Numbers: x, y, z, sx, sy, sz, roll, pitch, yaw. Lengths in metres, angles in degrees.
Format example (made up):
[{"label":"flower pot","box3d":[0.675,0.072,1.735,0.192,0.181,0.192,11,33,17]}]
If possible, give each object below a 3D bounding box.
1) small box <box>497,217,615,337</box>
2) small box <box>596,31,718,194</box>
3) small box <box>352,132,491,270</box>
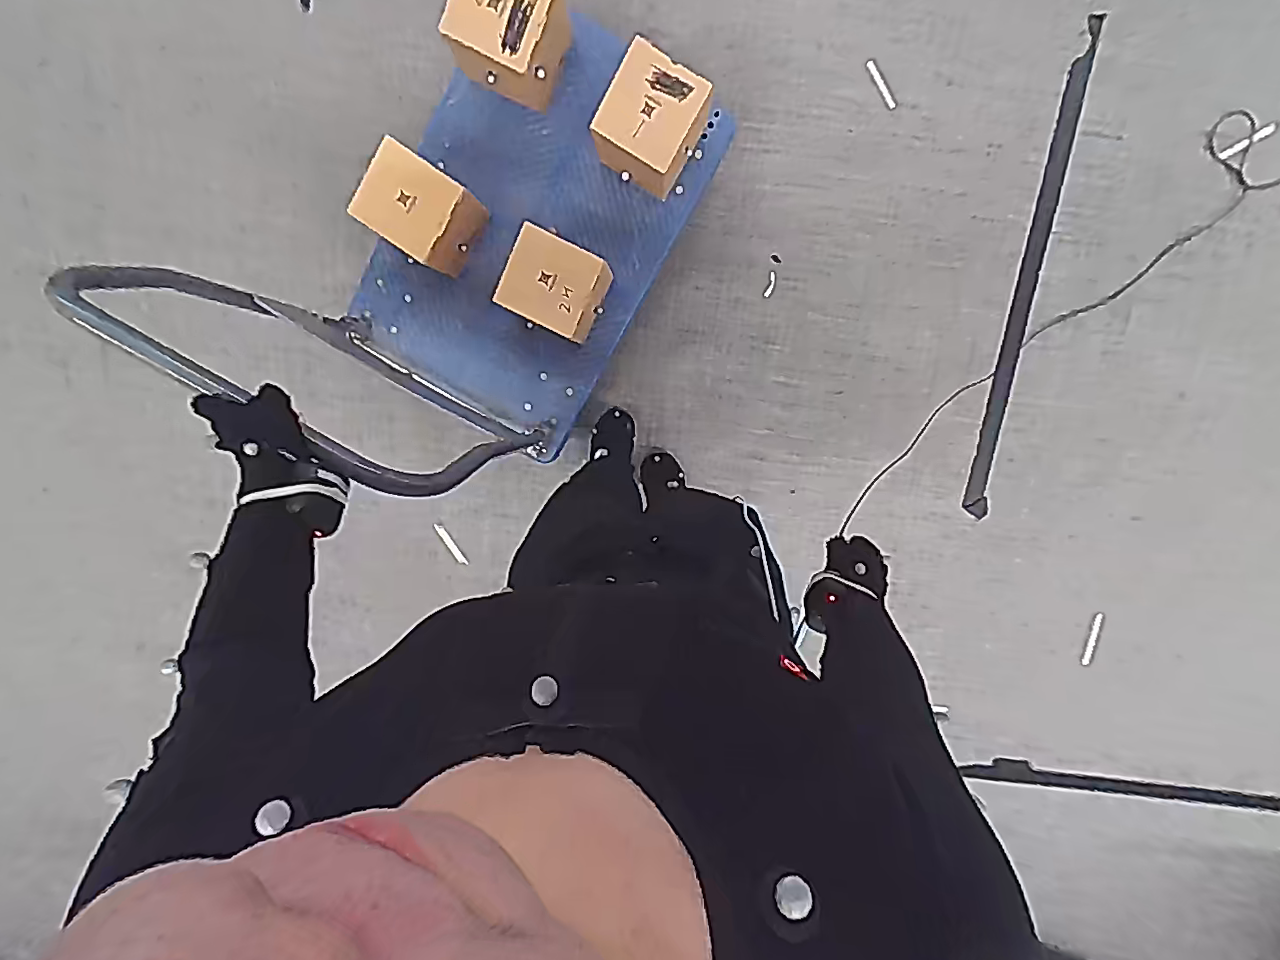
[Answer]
[{"label":"small box","box3d":[-0.166,-0.410,1.128,0.179,0.176,0.168,26,101,-3]},{"label":"small box","box3d":[0.031,-0.706,1.063,0.168,0.176,0.179,30,102,-4]},{"label":"small box","box3d":[-0.438,-0.557,1.112,0.179,0.176,0.168,33,100,-6]}]
